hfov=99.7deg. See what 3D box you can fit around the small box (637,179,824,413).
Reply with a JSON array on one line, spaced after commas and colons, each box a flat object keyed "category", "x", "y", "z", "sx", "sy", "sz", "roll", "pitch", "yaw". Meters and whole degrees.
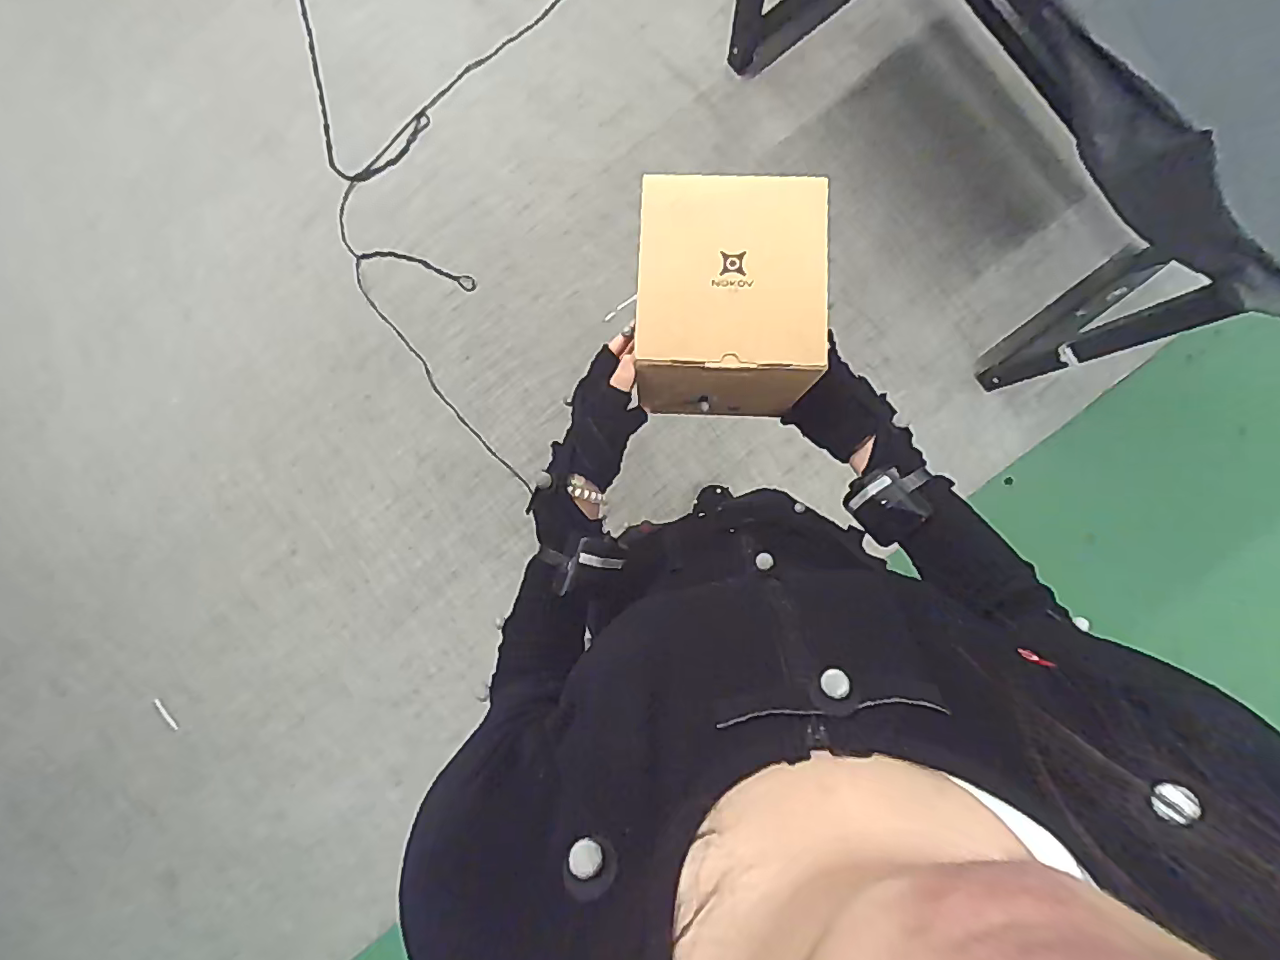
[{"category": "small box", "x": 0.083, "y": -0.177, "z": 0.561, "sx": 0.168, "sy": 0.176, "sz": 0.179, "roll": 2, "pitch": 84, "yaw": 2}]
